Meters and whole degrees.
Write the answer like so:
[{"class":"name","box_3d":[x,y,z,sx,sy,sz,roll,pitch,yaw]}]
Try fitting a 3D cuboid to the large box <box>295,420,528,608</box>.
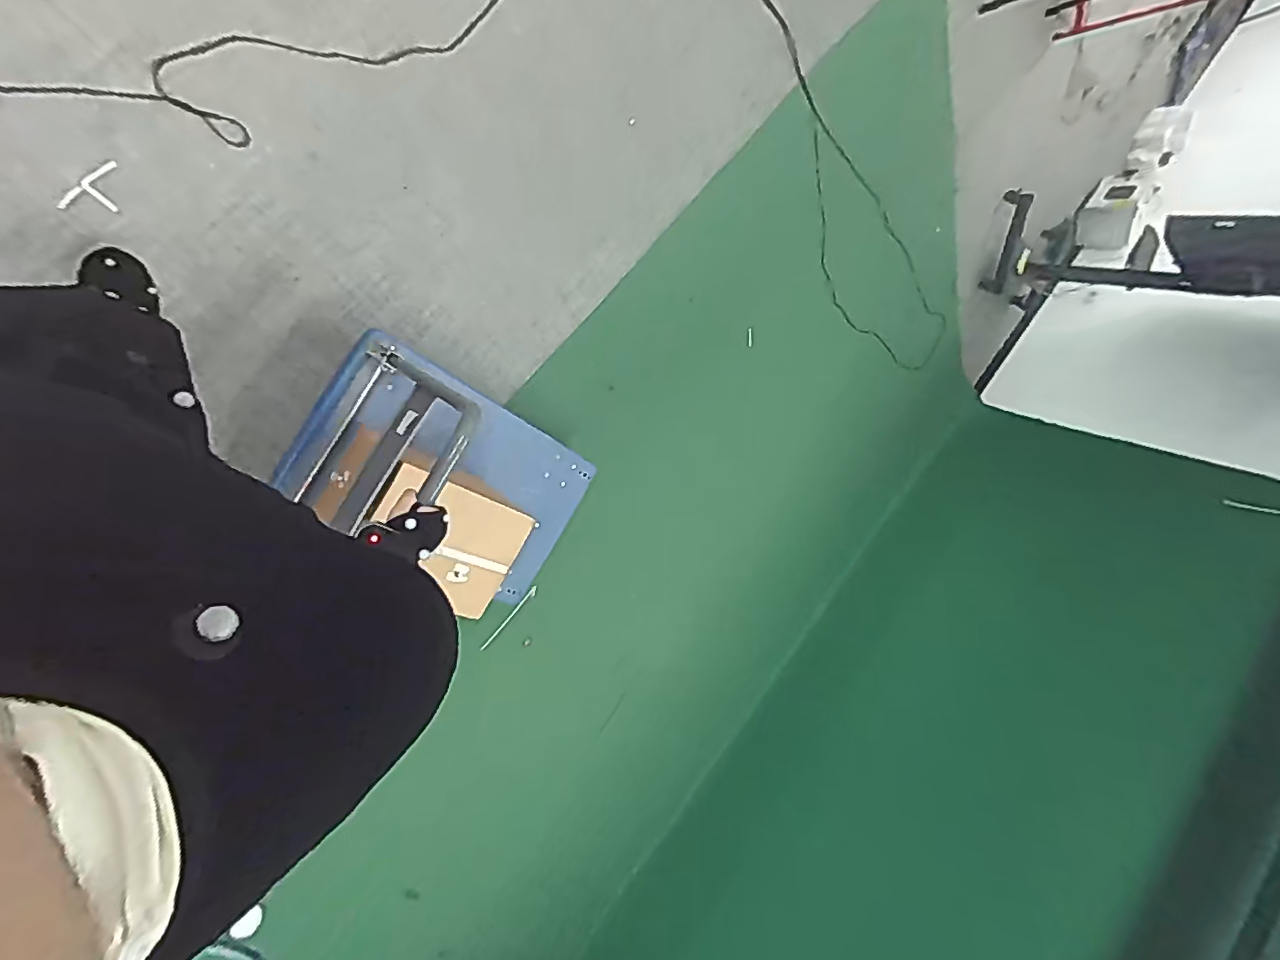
[{"class":"large box","box_3d":[-0.584,0.091,1.401,0.408,0.320,0.320,32,88,-48]}]
